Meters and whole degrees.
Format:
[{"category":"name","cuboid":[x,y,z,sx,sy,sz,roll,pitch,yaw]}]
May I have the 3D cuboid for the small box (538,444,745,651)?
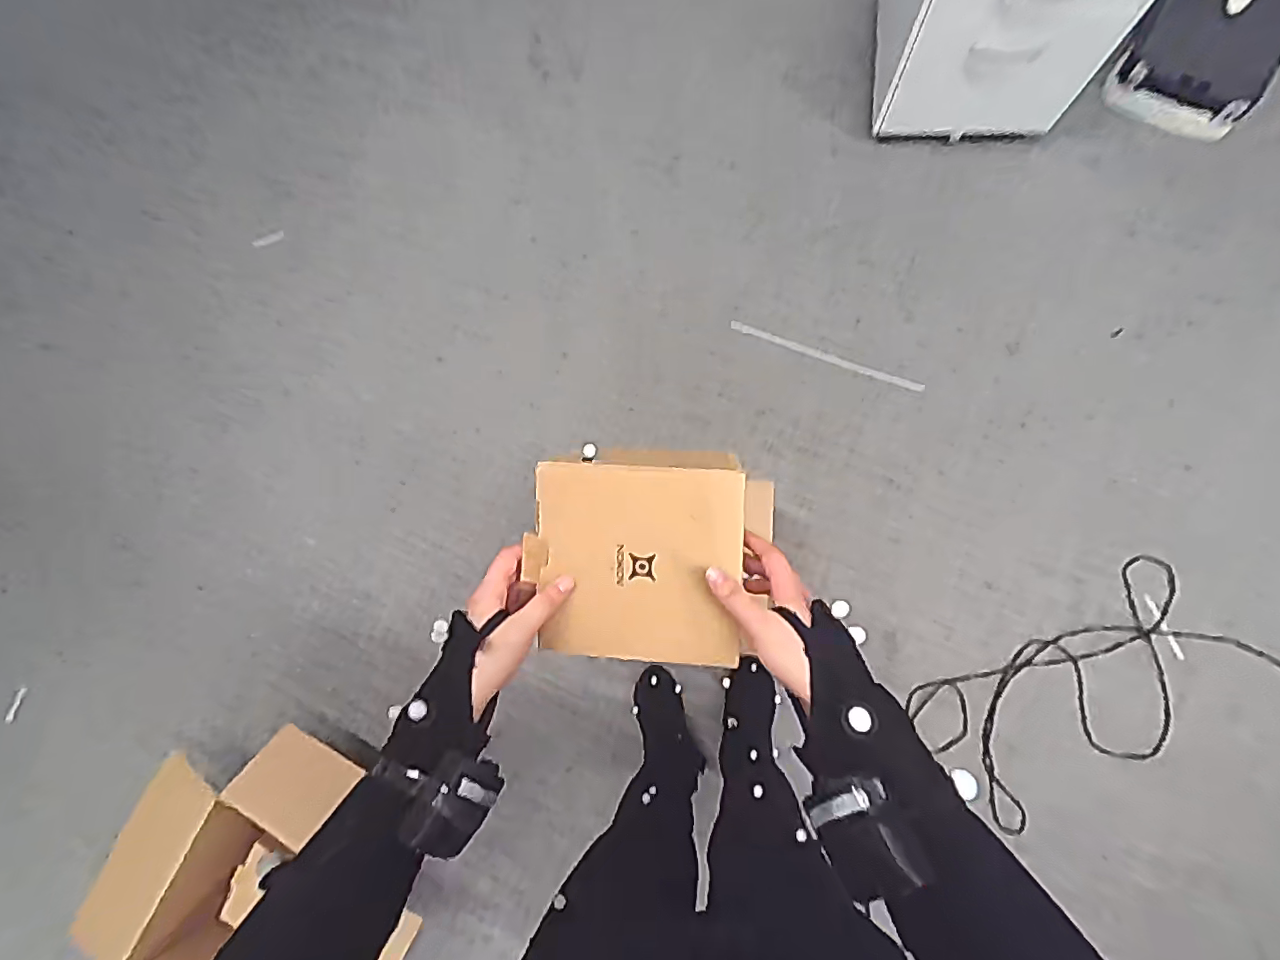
[{"category":"small box","cuboid":[0.010,0.052,0.536,0.179,0.176,0.168,1,98,9]}]
